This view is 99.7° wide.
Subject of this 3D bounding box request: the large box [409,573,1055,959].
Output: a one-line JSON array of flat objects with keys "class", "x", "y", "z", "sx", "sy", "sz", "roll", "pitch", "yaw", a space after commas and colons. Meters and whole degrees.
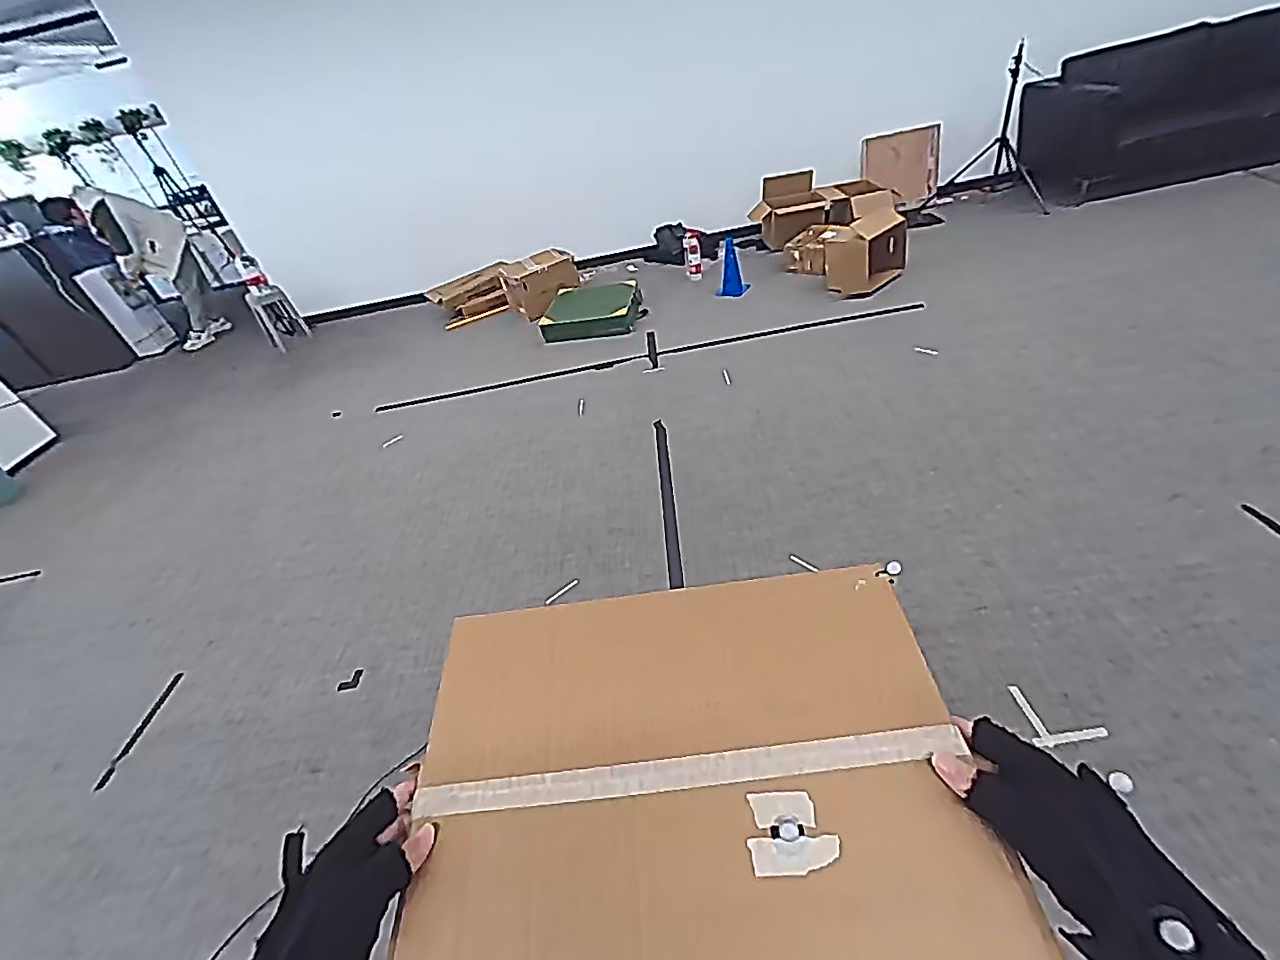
[{"class": "large box", "x": 0.055, "y": 0.327, "z": 0.514, "sx": 0.408, "sy": 0.320, "sz": 0.320, "roll": -8, "pitch": 46, "yaw": 2}]
